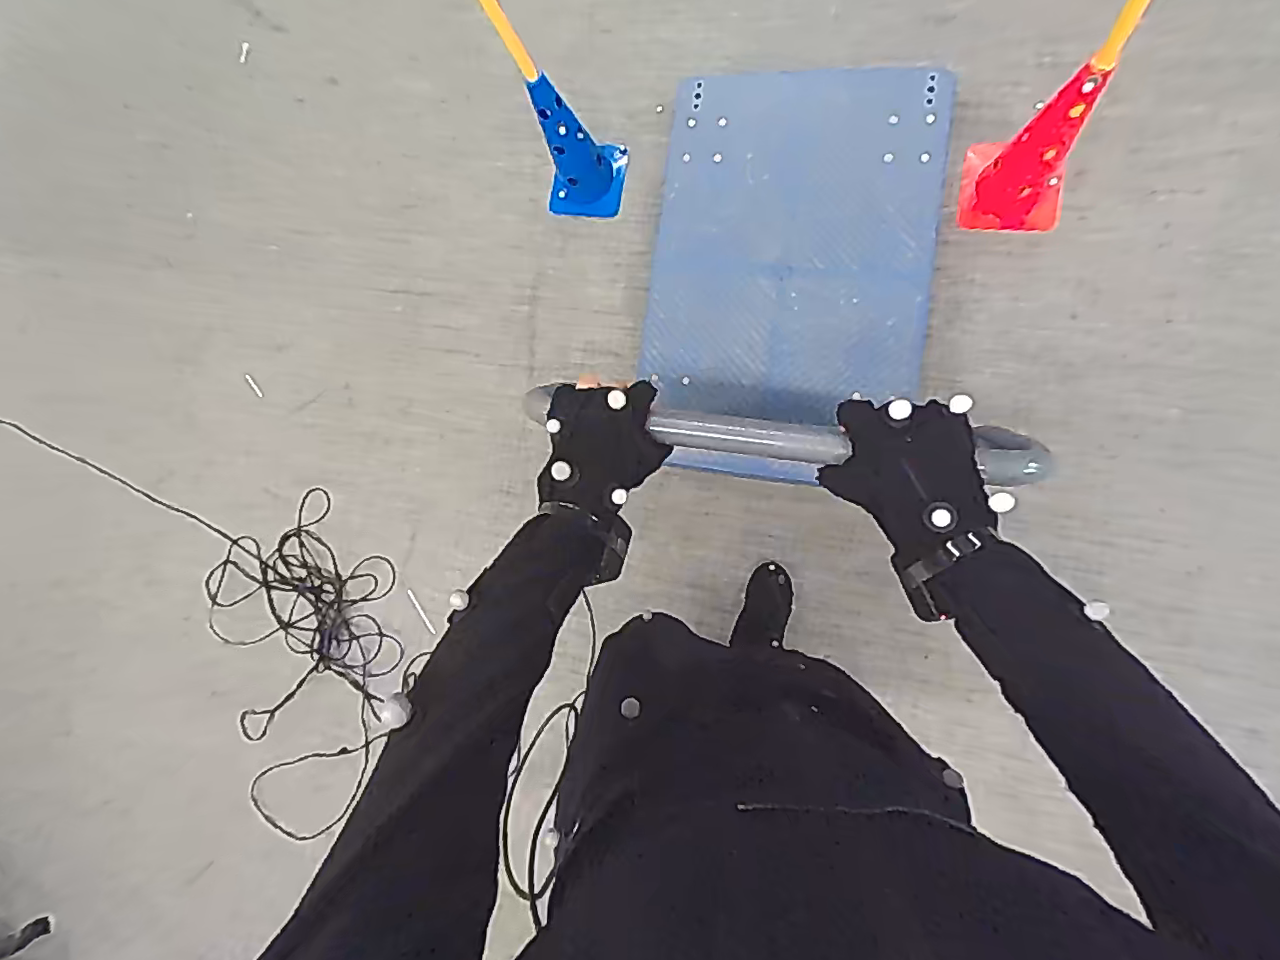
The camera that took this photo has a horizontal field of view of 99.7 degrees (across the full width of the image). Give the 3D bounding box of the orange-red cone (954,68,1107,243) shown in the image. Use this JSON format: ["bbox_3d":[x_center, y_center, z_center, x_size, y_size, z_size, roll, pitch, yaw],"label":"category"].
[{"bbox_3d":[0.793,-0.652,1.065,0.199,0.360,0.198,10,88,15],"label":"orange-red cone"}]
